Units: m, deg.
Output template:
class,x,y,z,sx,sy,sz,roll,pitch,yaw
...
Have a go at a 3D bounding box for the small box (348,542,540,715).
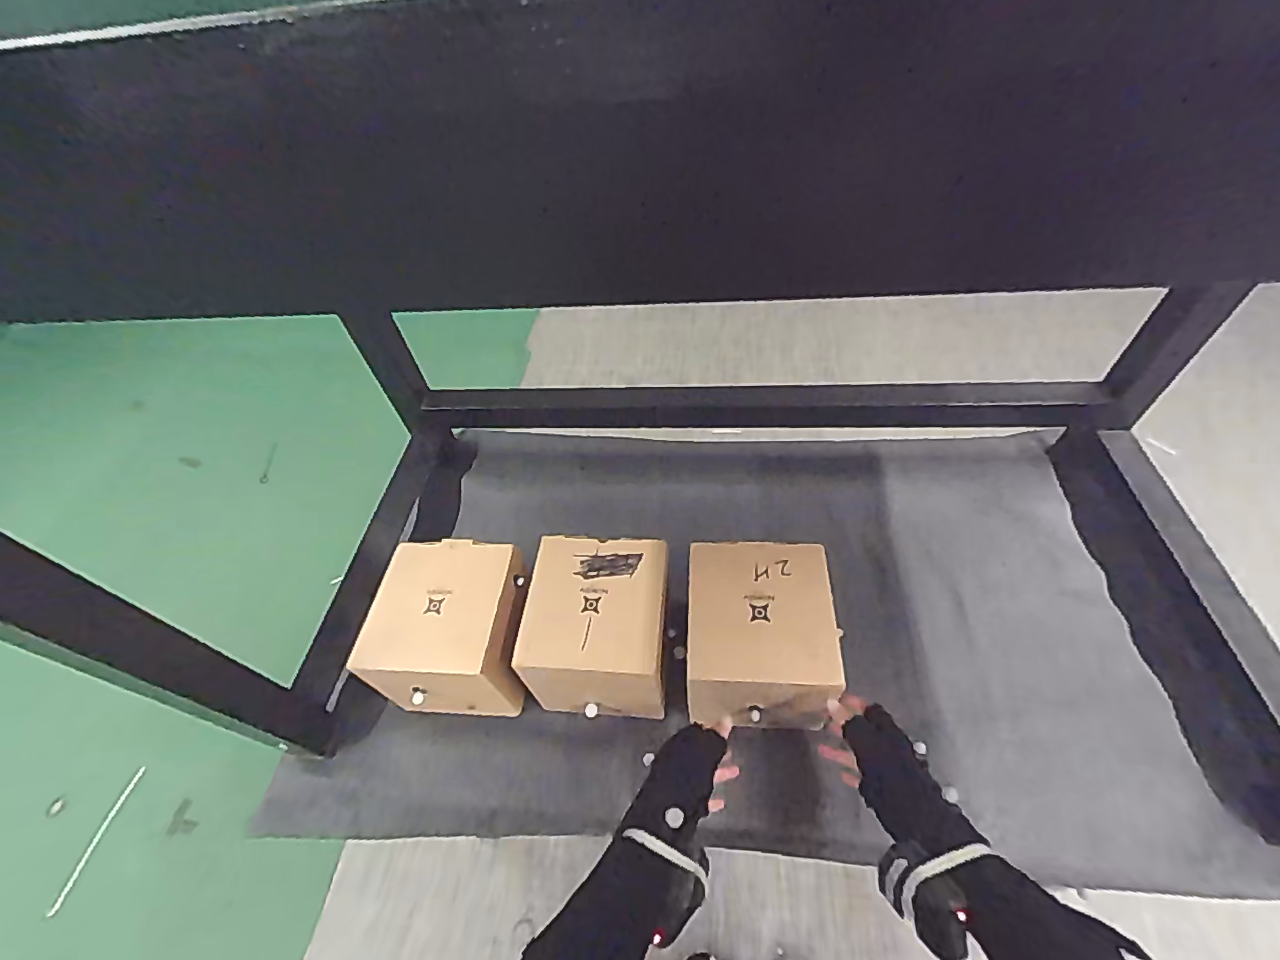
class,x,y,z,sx,sy,sz,roll,pitch,yaw
small box,-0.243,0.202,0.727,0.168,0.176,0.179,0,50,7
